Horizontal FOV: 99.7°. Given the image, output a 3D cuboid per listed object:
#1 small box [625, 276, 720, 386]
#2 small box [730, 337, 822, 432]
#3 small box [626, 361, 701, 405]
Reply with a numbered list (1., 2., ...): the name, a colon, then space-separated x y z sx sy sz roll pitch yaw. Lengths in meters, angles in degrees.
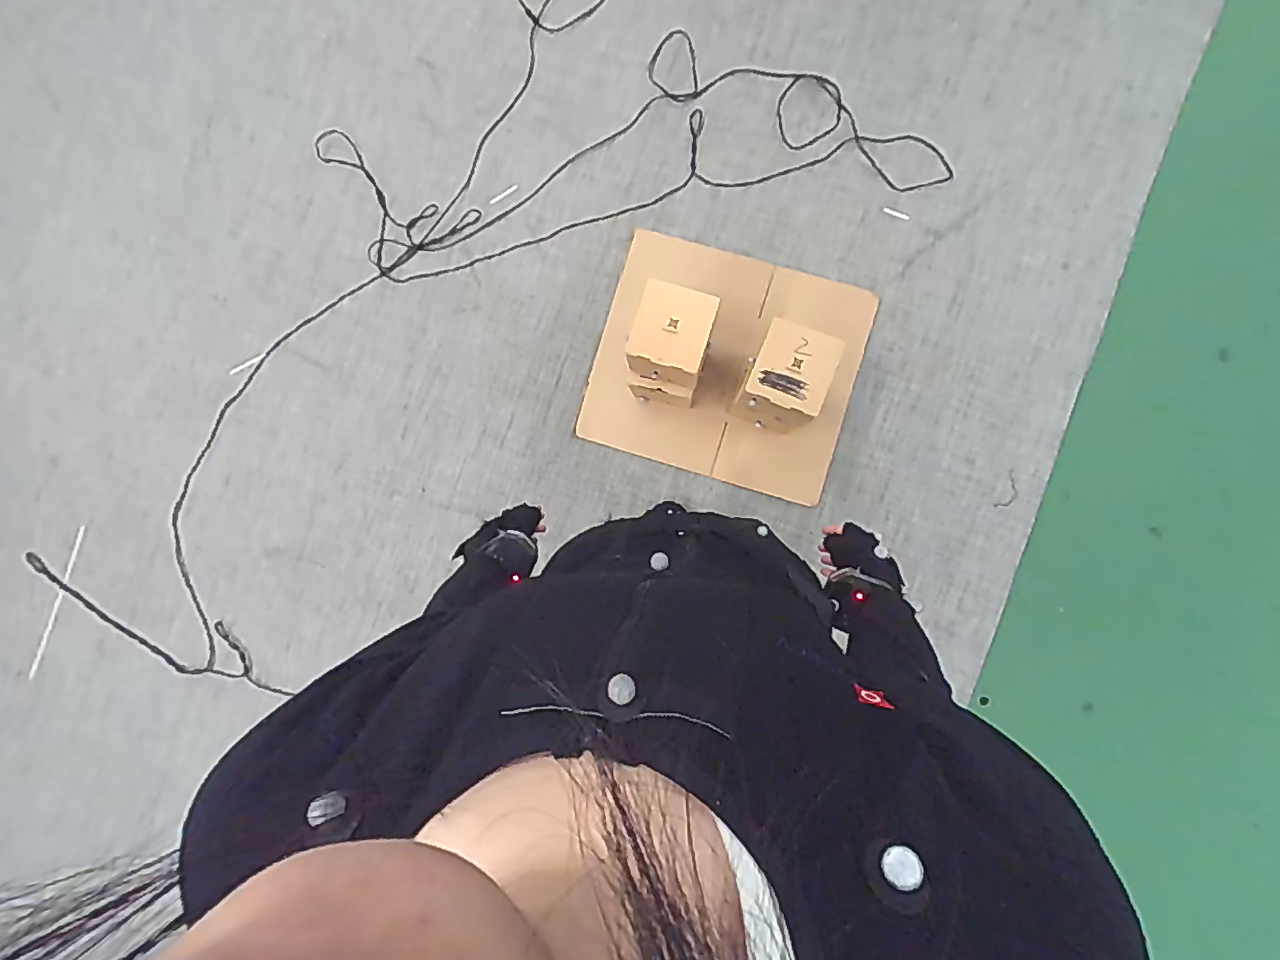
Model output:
1. small box: 0.073 -0.334 1.243 0.168 0.176 0.179 18 89 3
2. small box: 0.340 -0.238 1.390 0.168 0.176 0.179 22 91 5
3. small box: 0.070 -0.305 1.406 0.168 0.176 0.179 15 90 4
